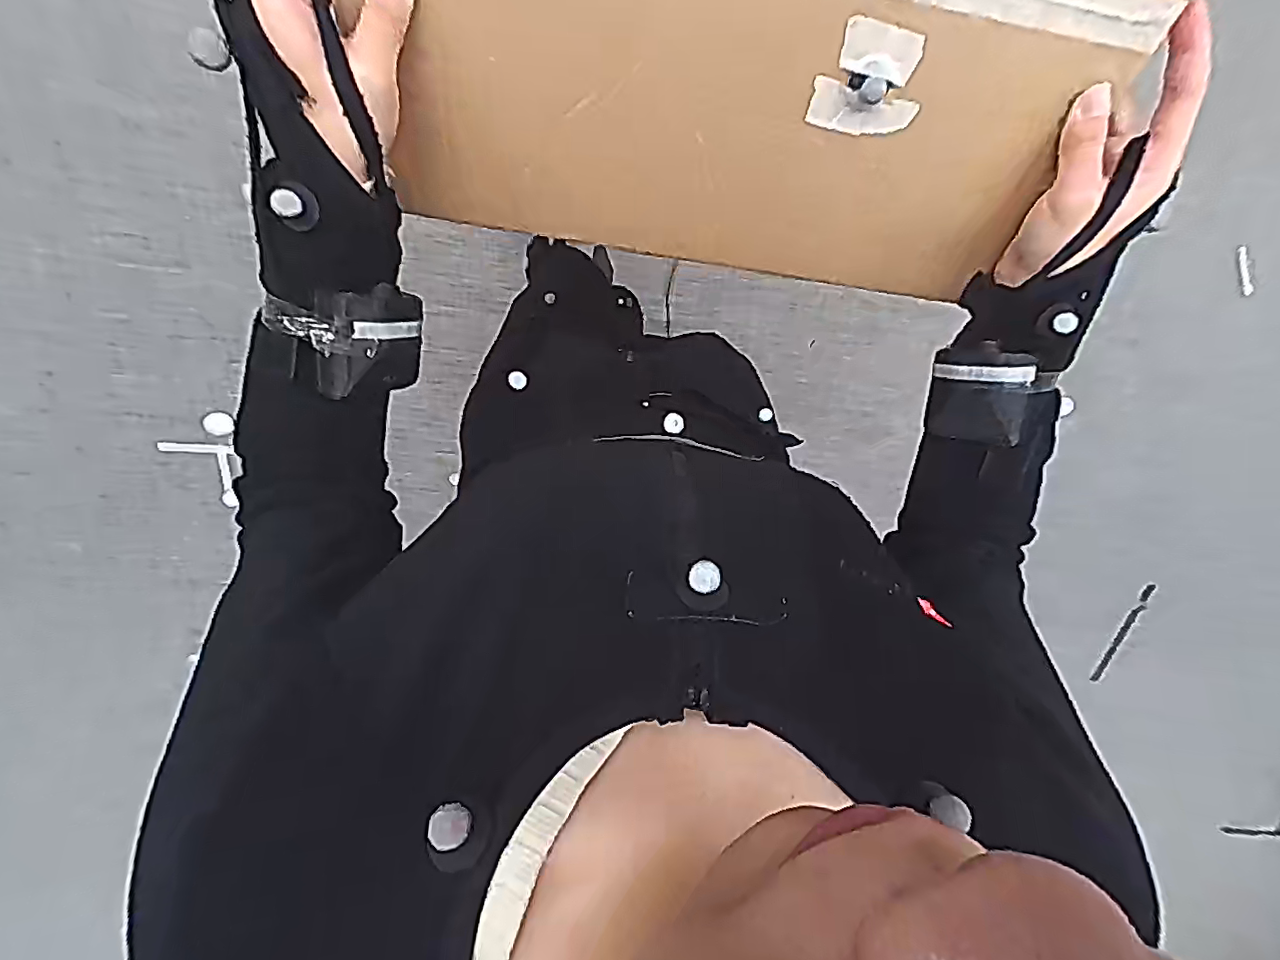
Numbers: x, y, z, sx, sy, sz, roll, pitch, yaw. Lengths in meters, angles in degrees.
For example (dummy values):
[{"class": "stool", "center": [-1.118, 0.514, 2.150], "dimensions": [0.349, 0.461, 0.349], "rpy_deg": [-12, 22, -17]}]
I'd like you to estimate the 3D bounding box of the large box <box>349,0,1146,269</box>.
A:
[{"class": "large box", "center": [0.057, -0.376, 0.341], "dimensions": [0.408, 0.320, 0.320], "rpy_deg": [5, 140, -8]}]
